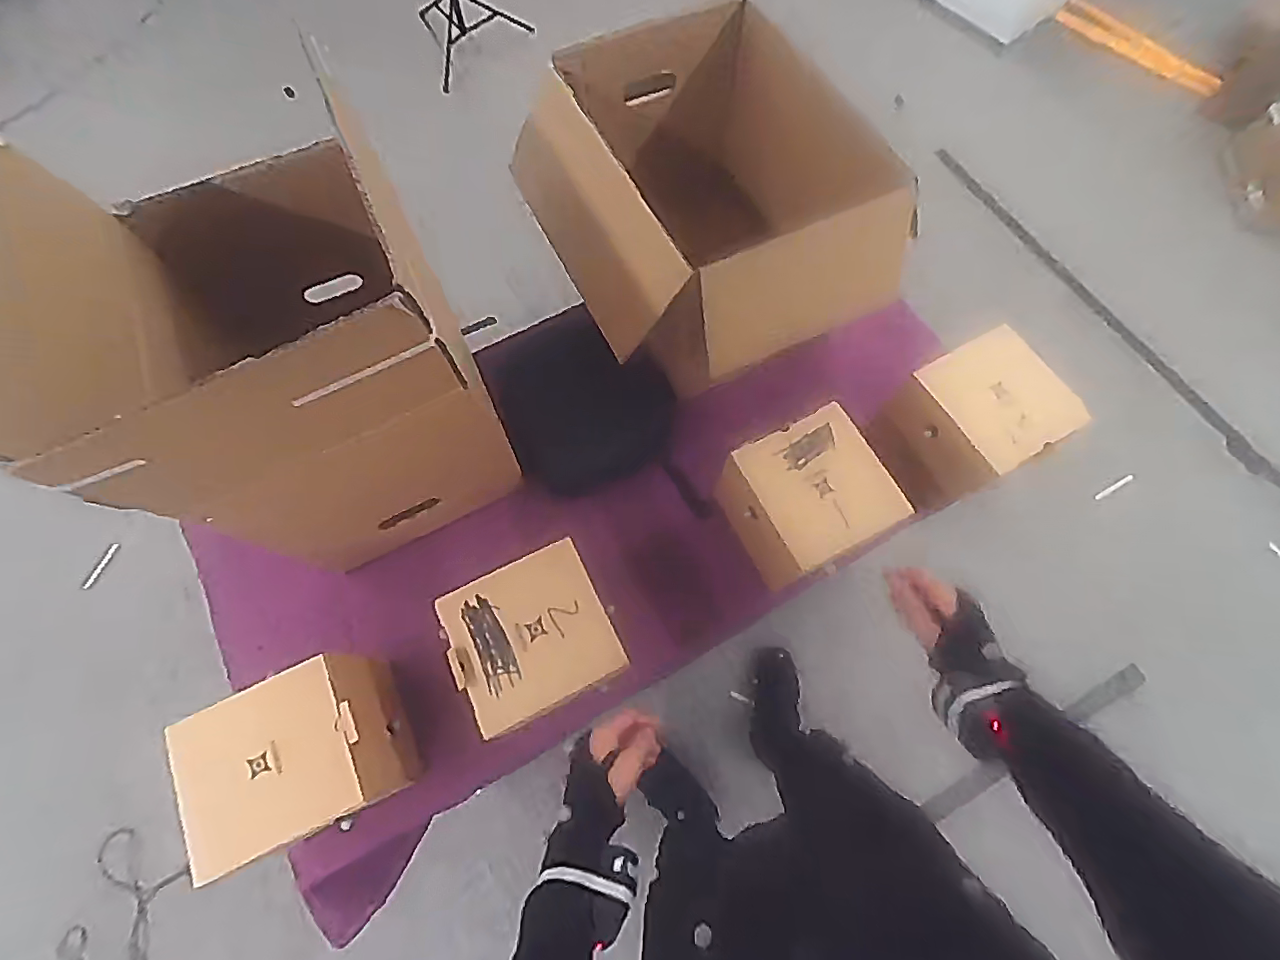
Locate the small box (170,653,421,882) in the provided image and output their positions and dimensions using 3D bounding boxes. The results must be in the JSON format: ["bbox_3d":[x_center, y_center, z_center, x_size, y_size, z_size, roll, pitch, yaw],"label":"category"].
[{"bbox_3d":[-0.396,0.326,0.646,0.179,0.176,0.168,-25,72,-10],"label":"small box"}]

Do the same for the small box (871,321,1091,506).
[{"bbox_3d":[0.474,-0.089,0.788,0.168,0.176,0.179,-28,72,-8],"label":"small box"}]
